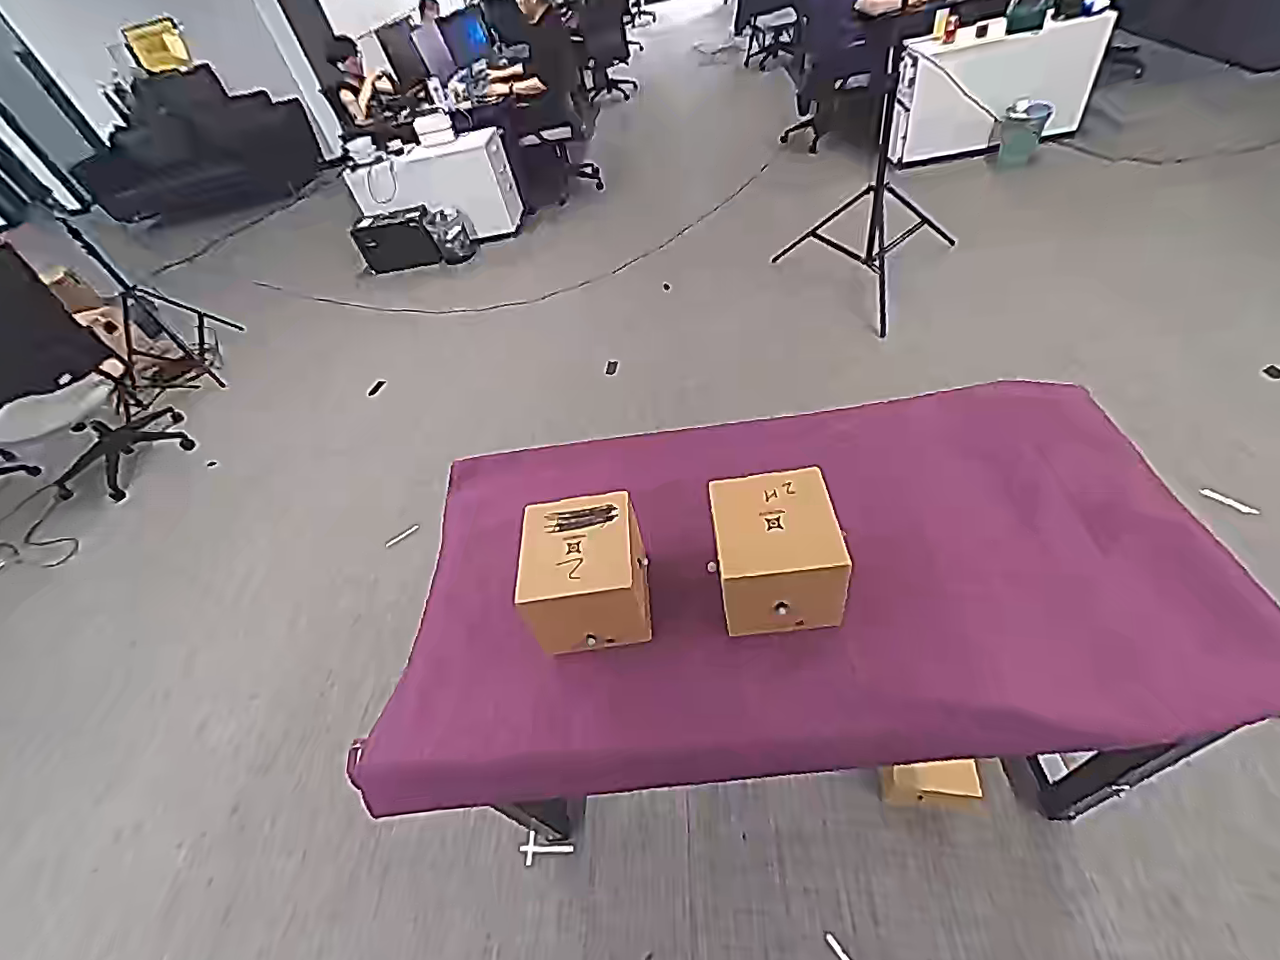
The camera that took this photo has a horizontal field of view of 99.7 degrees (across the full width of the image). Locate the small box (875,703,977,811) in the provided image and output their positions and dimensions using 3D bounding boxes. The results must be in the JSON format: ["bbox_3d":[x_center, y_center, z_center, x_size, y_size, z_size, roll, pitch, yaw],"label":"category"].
[{"bbox_3d":[0.641,0.632,1.231,0.168,0.176,0.179,0,48,14],"label":"small box"}]

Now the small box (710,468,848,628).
[{"bbox_3d":[0.201,0.109,0.812,0.168,0.176,0.179,-7,46,6],"label":"small box"}]
